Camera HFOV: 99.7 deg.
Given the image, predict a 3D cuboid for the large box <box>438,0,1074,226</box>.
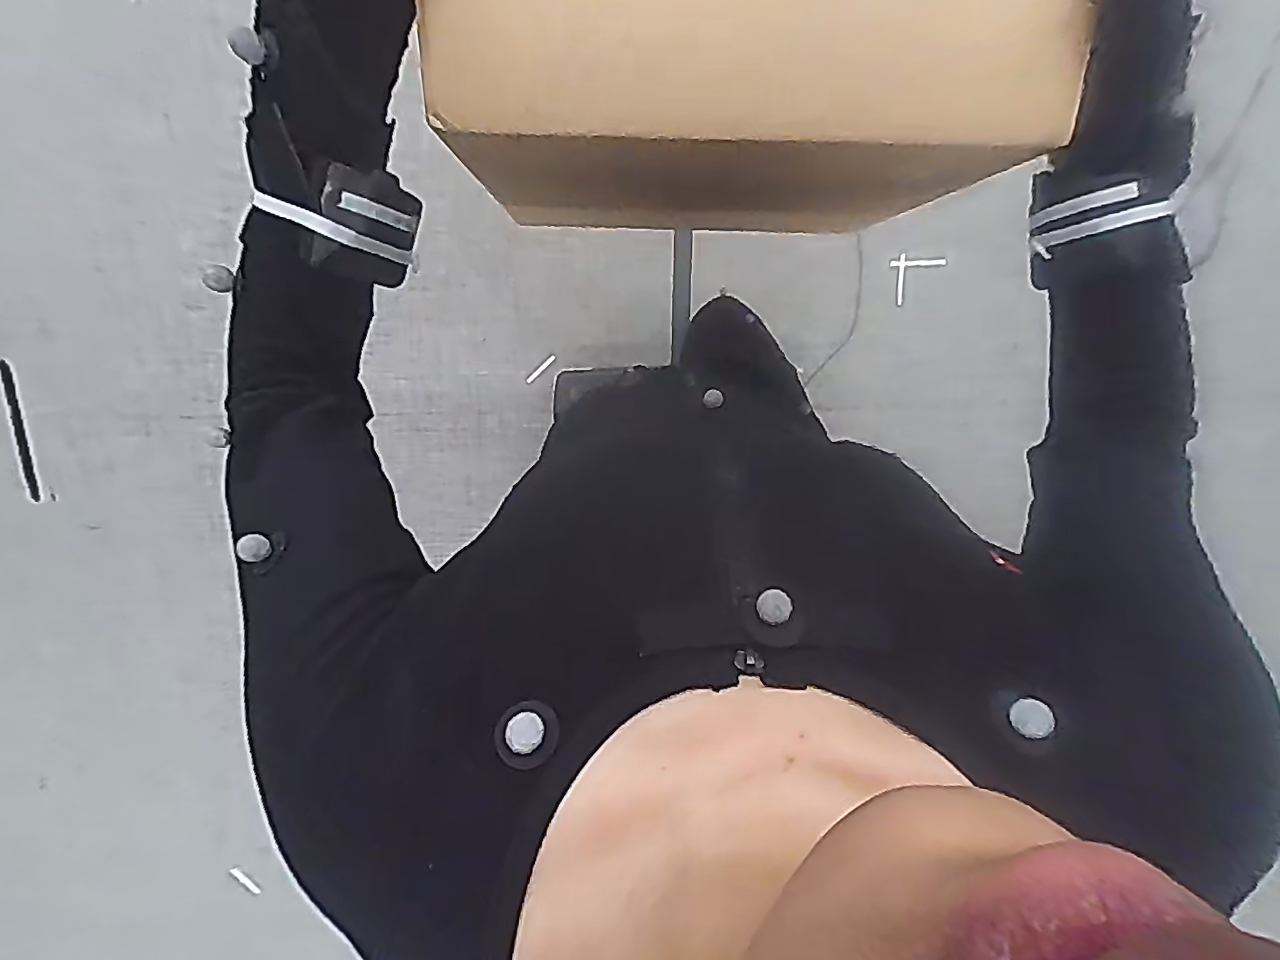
[{"bbox_3d":[0.064,-0.412,0.454,0.408,0.320,0.320,-1,106,-3],"label":"large box"}]
